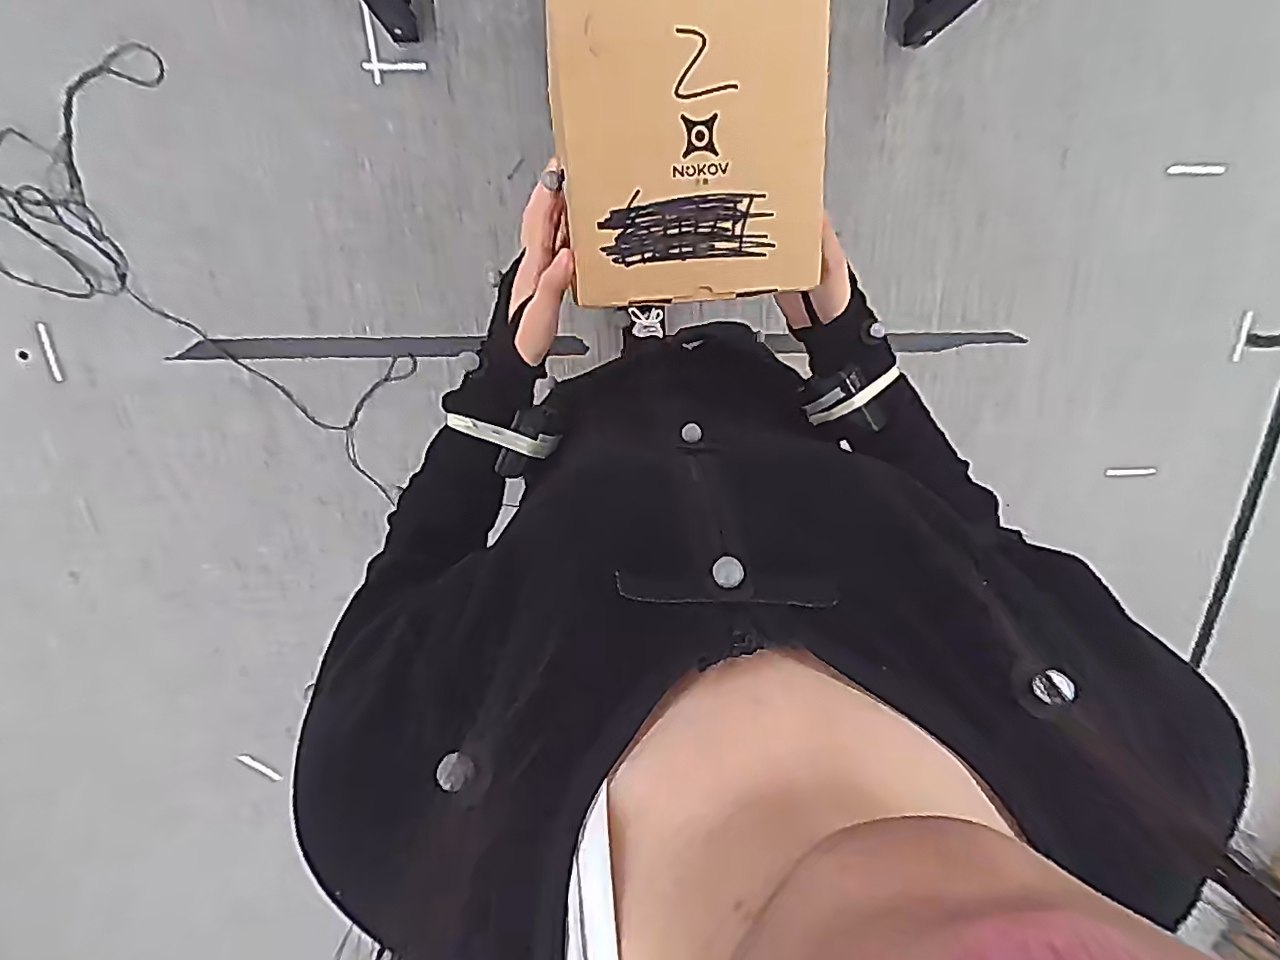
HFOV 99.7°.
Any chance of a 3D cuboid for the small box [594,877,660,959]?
[{"bbox_3d":[-0.038,1.255,1.517,0.179,0.176,0.168,-3,106,-2],"label":"small box"}]
